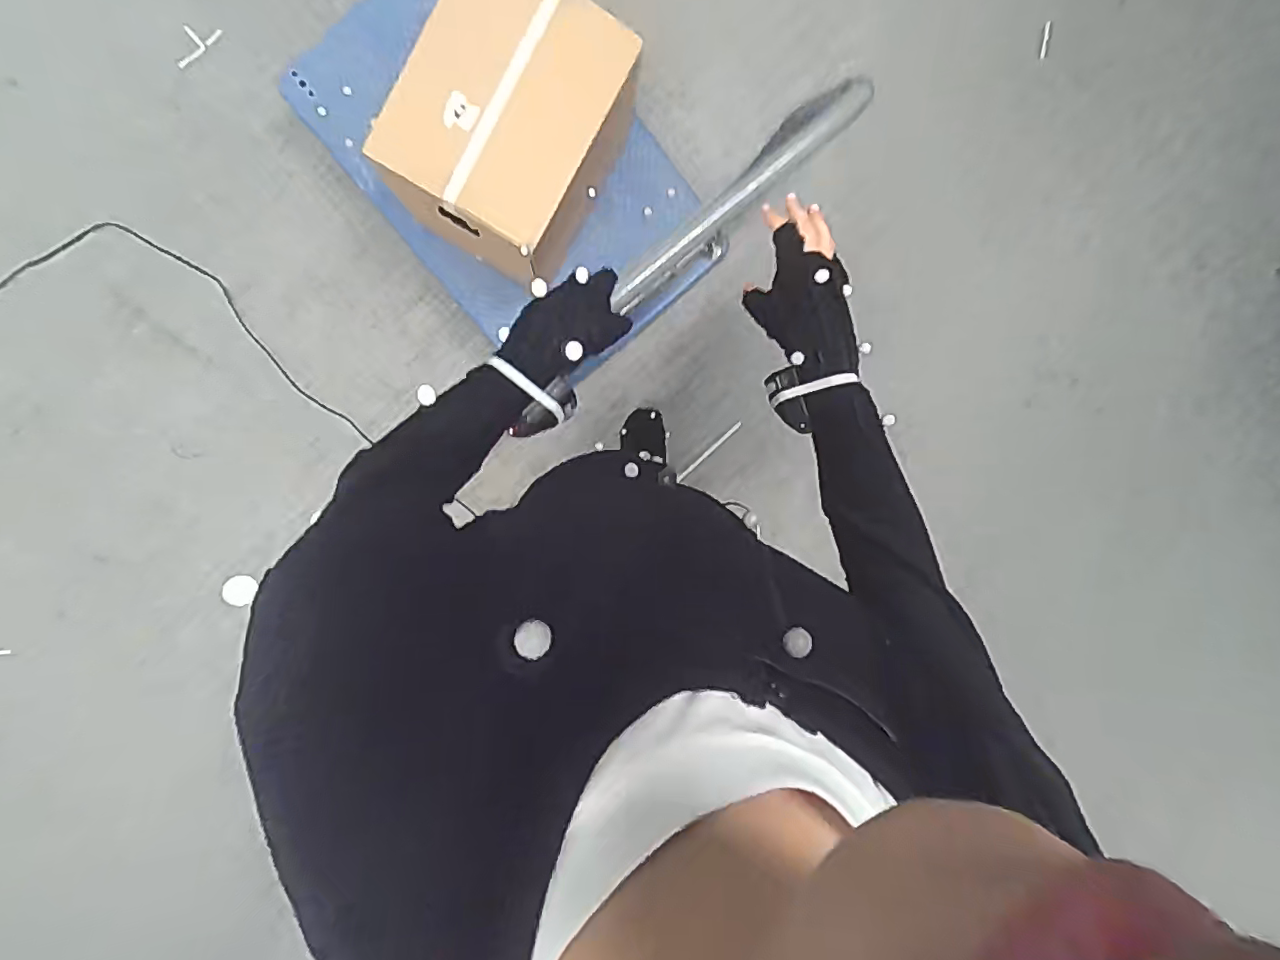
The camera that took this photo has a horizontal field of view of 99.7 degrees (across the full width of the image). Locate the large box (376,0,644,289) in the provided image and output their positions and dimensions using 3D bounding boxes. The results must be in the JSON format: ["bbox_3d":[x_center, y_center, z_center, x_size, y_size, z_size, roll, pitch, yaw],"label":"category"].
[{"bbox_3d":[-0.231,-0.657,1.053,0.320,0.320,0.408,28,93,-8],"label":"large box"}]
